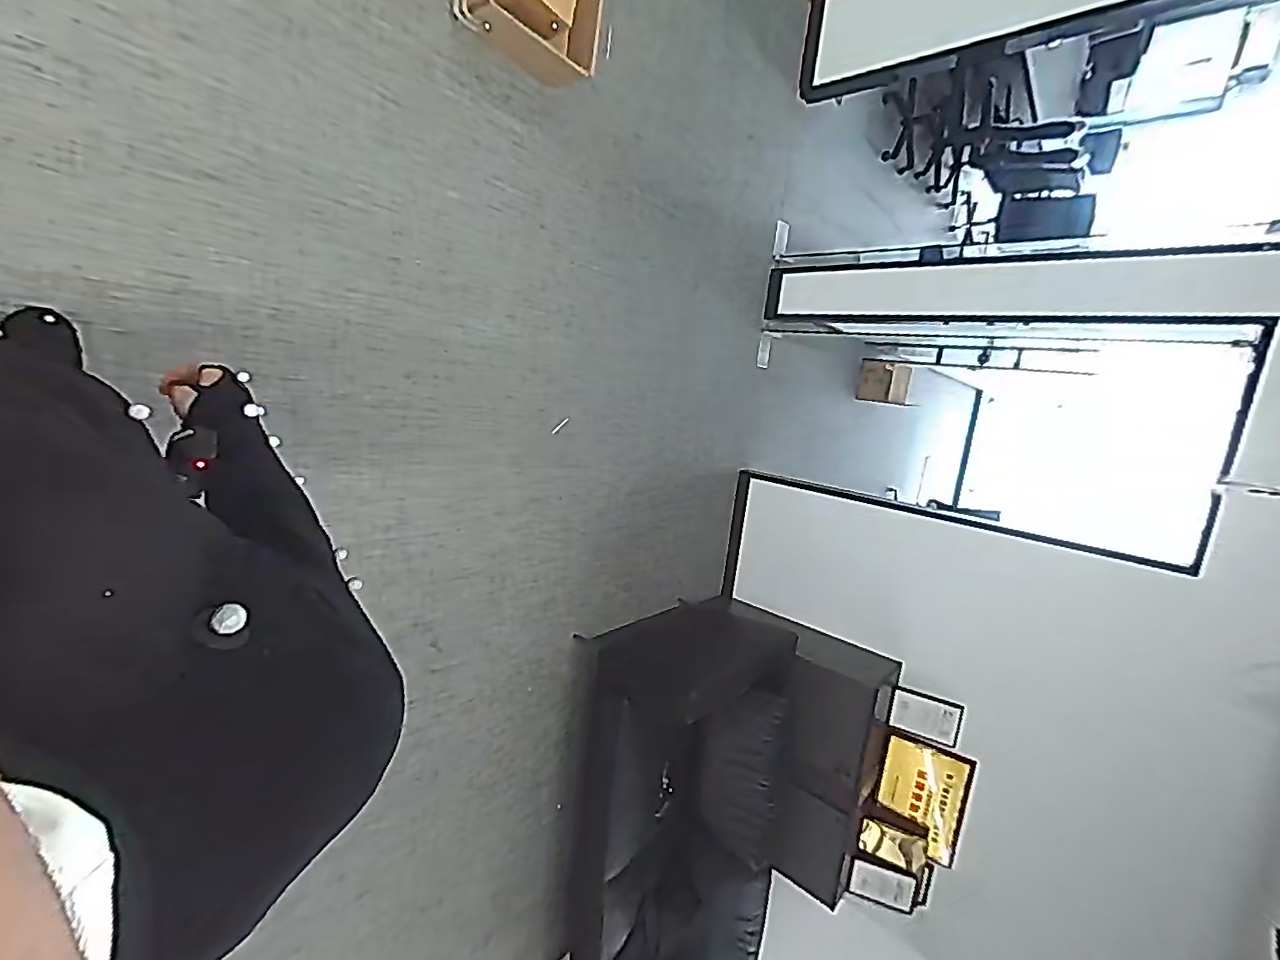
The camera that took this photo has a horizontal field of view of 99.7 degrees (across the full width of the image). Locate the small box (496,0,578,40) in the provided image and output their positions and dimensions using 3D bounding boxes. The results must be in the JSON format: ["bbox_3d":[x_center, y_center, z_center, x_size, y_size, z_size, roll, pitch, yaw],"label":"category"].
[{"bbox_3d":[-0.299,-1.451,1.591,0.179,0.176,0.168,3,99,-50],"label":"small box"}]
